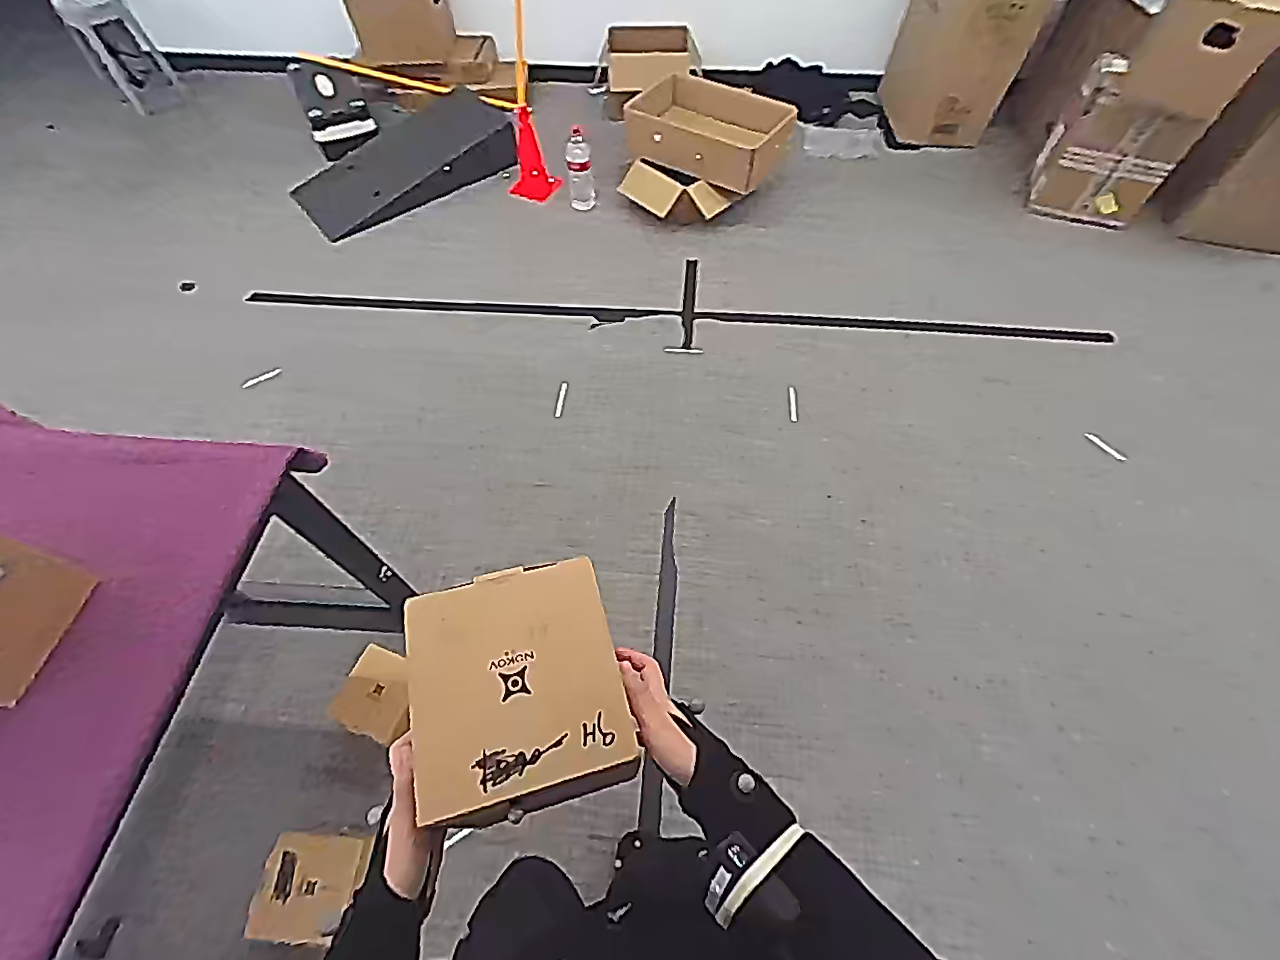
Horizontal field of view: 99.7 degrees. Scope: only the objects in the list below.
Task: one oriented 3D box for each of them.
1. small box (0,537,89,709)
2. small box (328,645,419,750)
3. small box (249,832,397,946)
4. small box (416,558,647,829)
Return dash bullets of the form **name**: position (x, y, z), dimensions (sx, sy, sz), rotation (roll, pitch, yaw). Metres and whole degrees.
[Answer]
- **small box**: position (-0.850, 0.165, 0.658), dimensions (0.168, 0.176, 0.179), rotation (5, 59, 4)
- **small box**: position (-0.591, 0.524, 1.293), dimensions (0.168, 0.176, 0.179), rotation (19, 62, 11)
- **small box**: position (-0.634, 0.825, 1.107), dimensions (0.179, 0.176, 0.168), rotation (3, 59, 2)
- **small box**: position (-0.097, 0.200, 0.500), dimensions (0.168, 0.176, 0.179), rotation (-13, 57, -9)
